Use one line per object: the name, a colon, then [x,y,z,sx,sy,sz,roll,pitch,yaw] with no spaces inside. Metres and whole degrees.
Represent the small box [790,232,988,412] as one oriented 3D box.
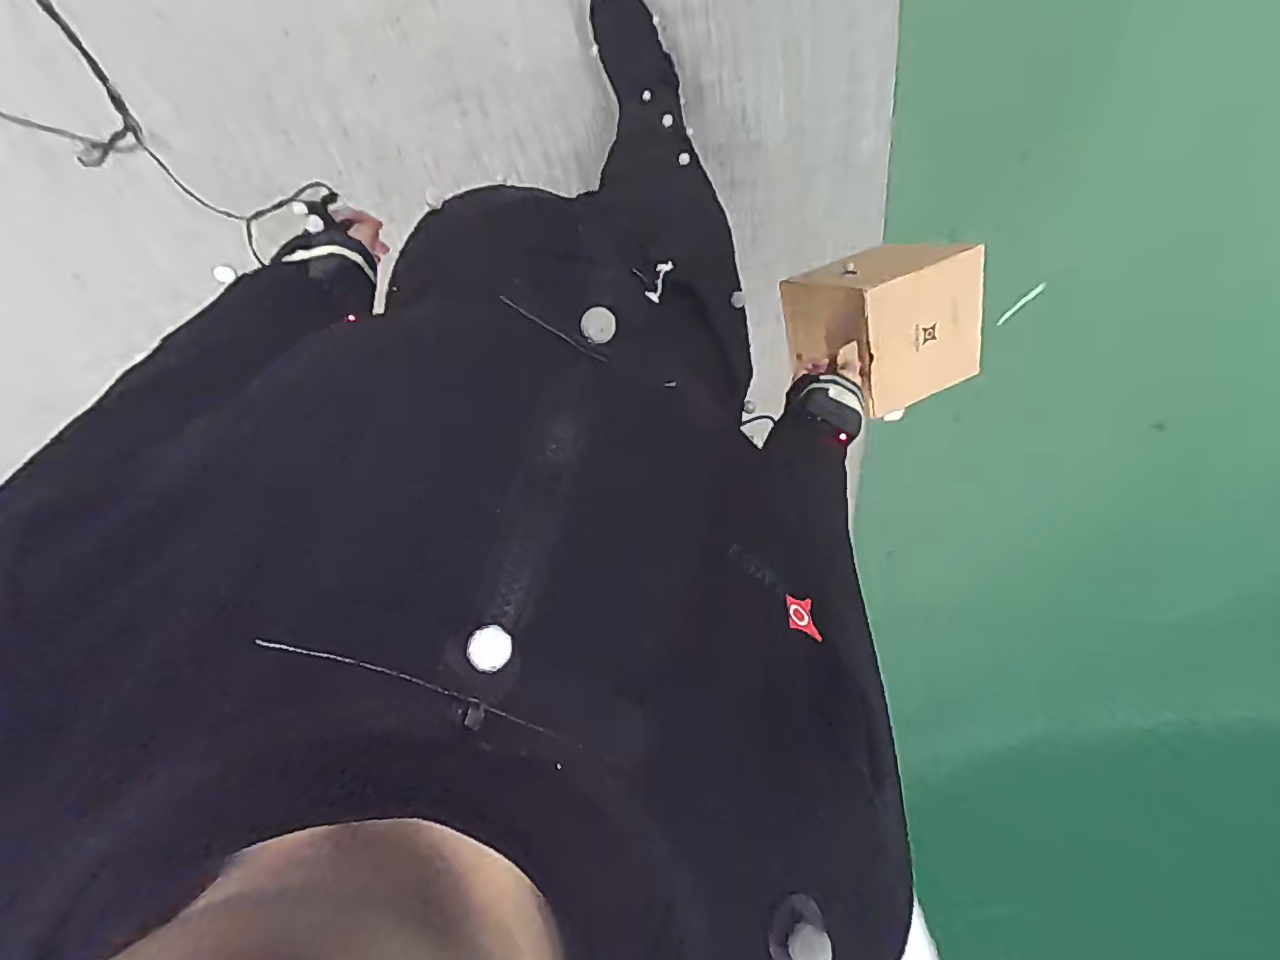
small box: [0.315,-0.212,0.710,0.179,0.176,0.168,-25,120,-12]
